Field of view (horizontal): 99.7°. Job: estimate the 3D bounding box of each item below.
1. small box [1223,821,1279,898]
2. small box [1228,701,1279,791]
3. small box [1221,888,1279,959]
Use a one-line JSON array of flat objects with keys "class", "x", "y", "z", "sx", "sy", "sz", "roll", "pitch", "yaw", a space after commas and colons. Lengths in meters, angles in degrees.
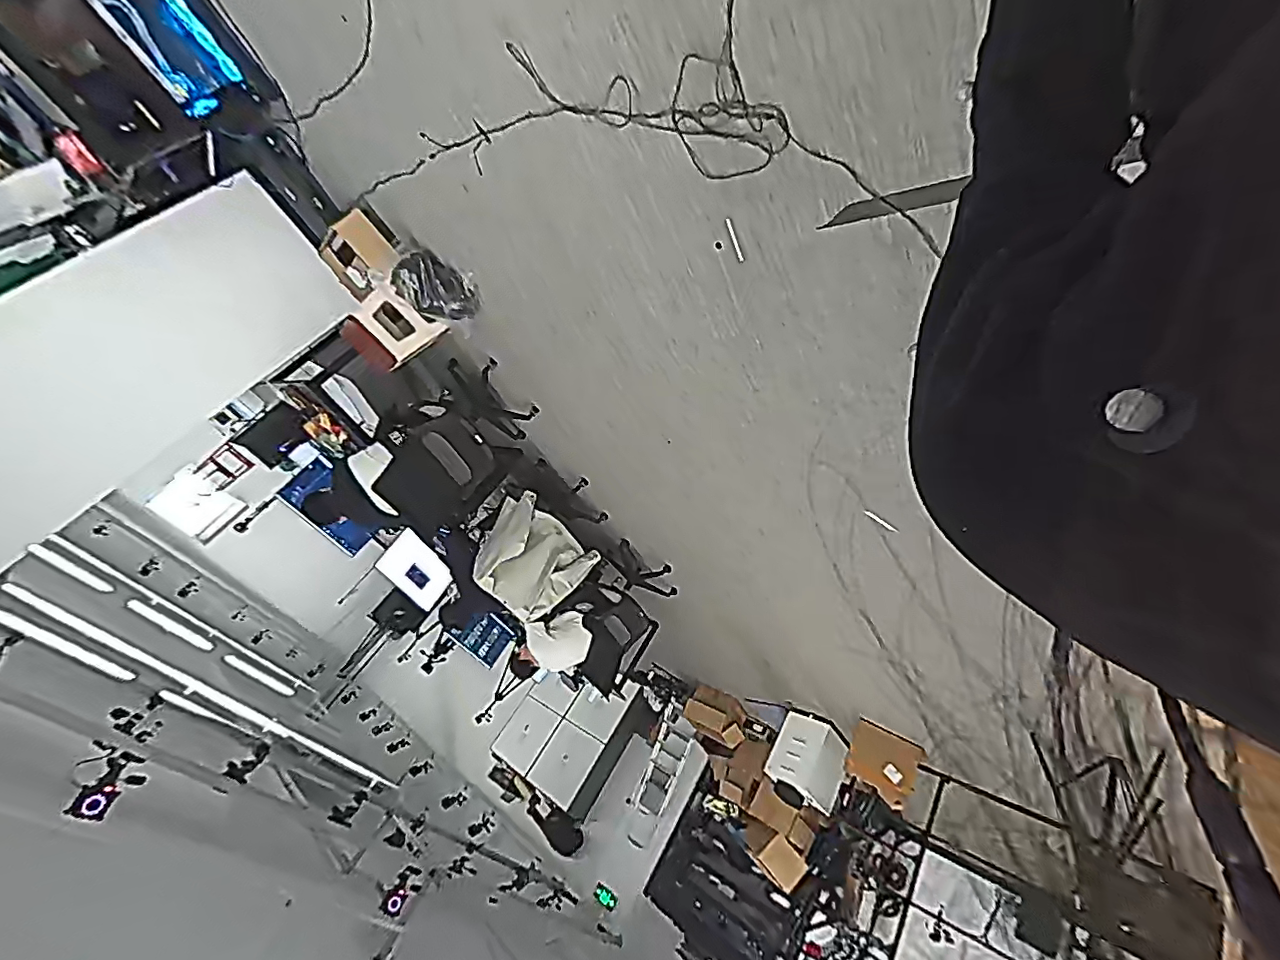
[{"class": "small box", "x": 1.600, "y": 0.982, "z": 1.344, "sx": 0.179, "sy": 0.176, "sz": 0.168, "roll": 11, "pitch": 144, "yaw": 40}, {"class": "small box", "x": 1.770, "y": 0.744, "z": 1.494, "sx": 0.179, "sy": 0.176, "sz": 0.168, "roll": 9, "pitch": 141, "yaw": 44}, {"class": "small box", "x": 1.515, "y": 1.099, "z": 1.271, "sx": 0.179, "sy": 0.176, "sz": 0.168, "roll": 11, "pitch": 143, "yaw": 40}]
